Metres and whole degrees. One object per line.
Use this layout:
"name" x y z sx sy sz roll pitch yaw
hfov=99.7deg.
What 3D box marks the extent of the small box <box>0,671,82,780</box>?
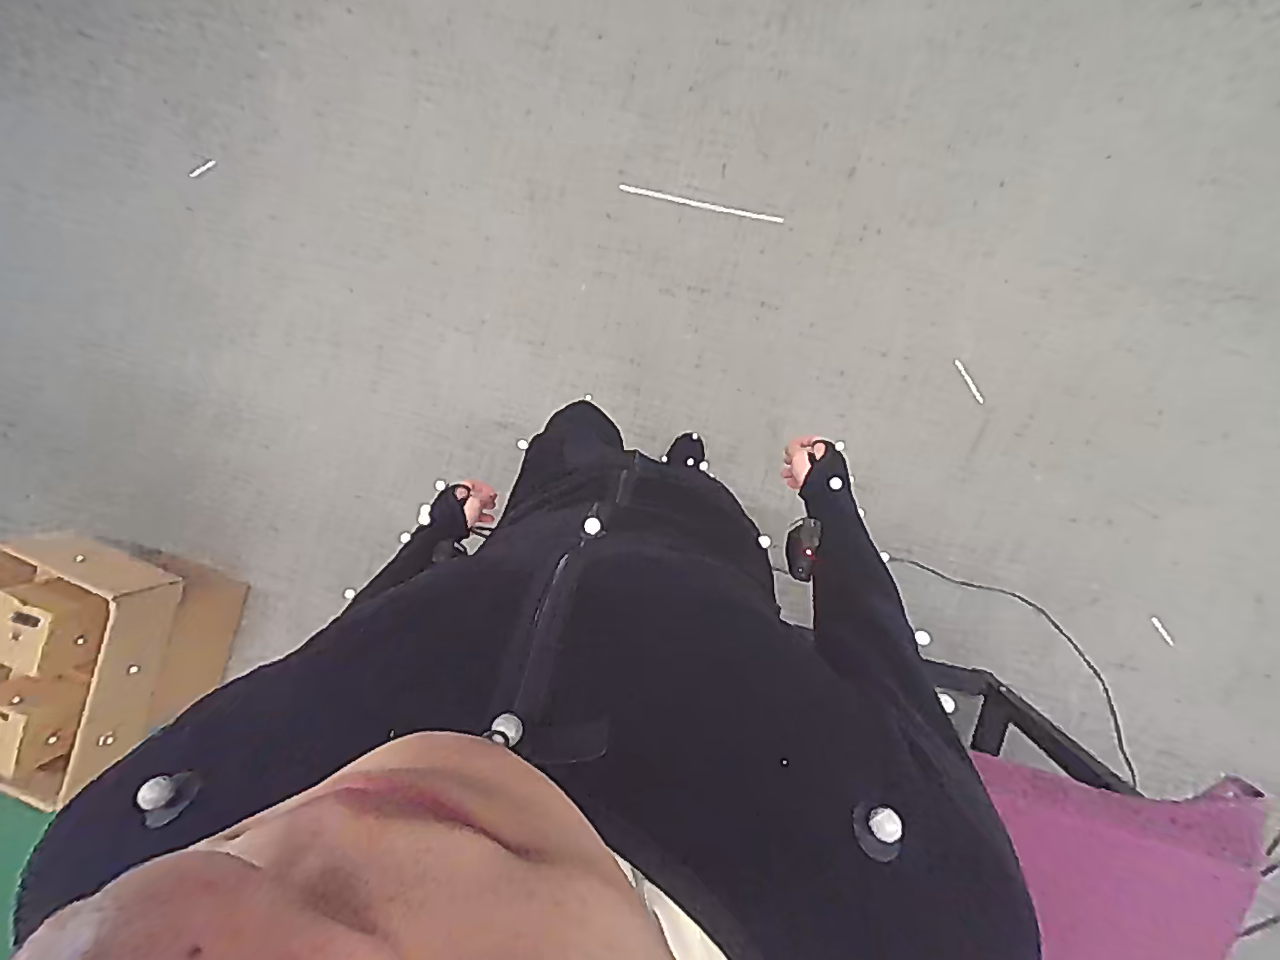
"small box" -1.615 0.631 1.398 0.168 0.176 0.179 19 96 4
